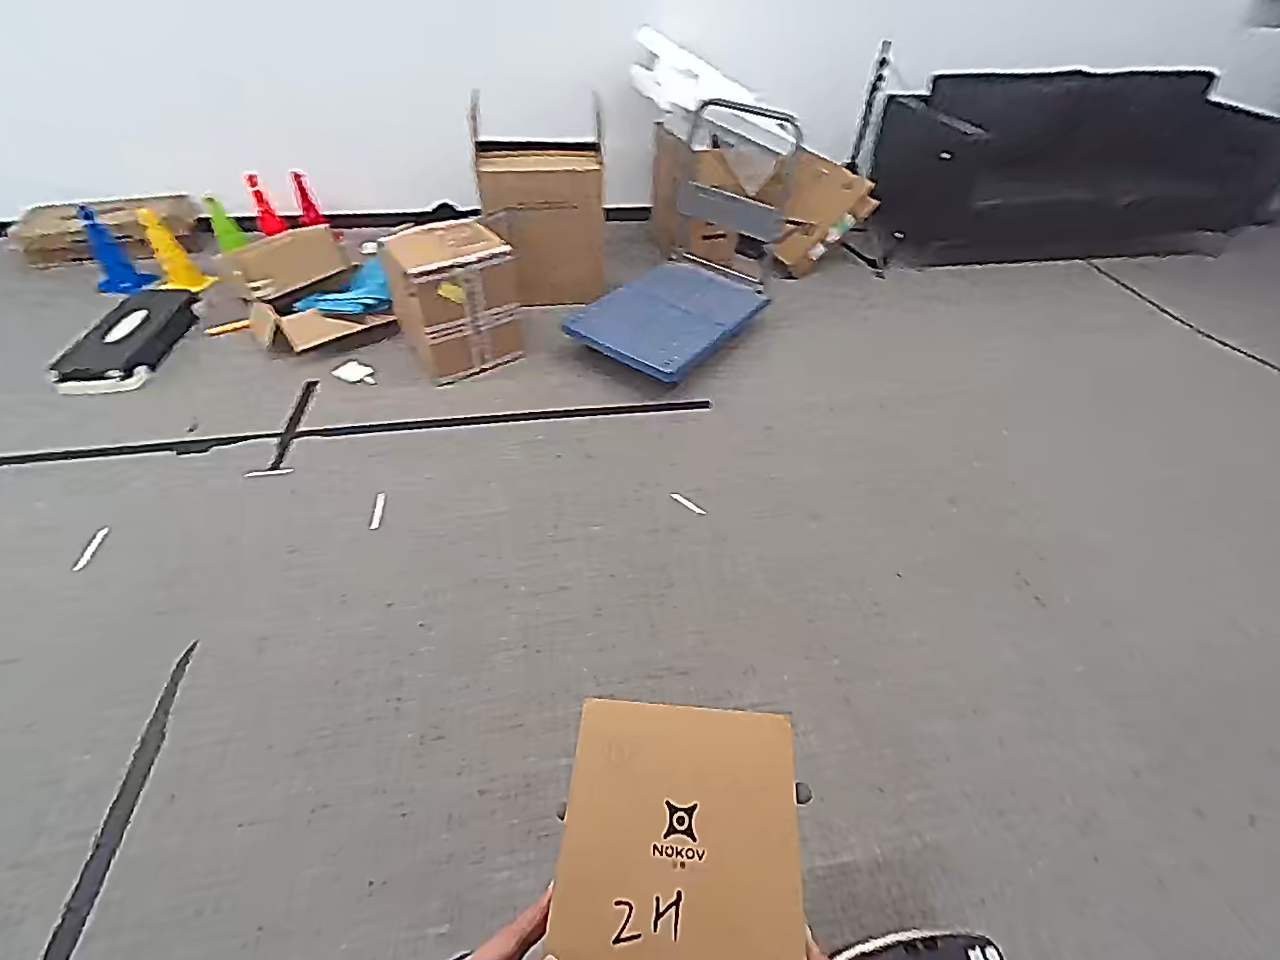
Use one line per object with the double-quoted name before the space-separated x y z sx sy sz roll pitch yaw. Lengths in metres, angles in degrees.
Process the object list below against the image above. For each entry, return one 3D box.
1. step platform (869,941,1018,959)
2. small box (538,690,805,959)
"step platform" 0.549 1.086 0.744 0.286 0.204 0.684 -5 45 -8
"small box" 0.032 0.291 0.436 0.168 0.176 0.179 1 51 8
